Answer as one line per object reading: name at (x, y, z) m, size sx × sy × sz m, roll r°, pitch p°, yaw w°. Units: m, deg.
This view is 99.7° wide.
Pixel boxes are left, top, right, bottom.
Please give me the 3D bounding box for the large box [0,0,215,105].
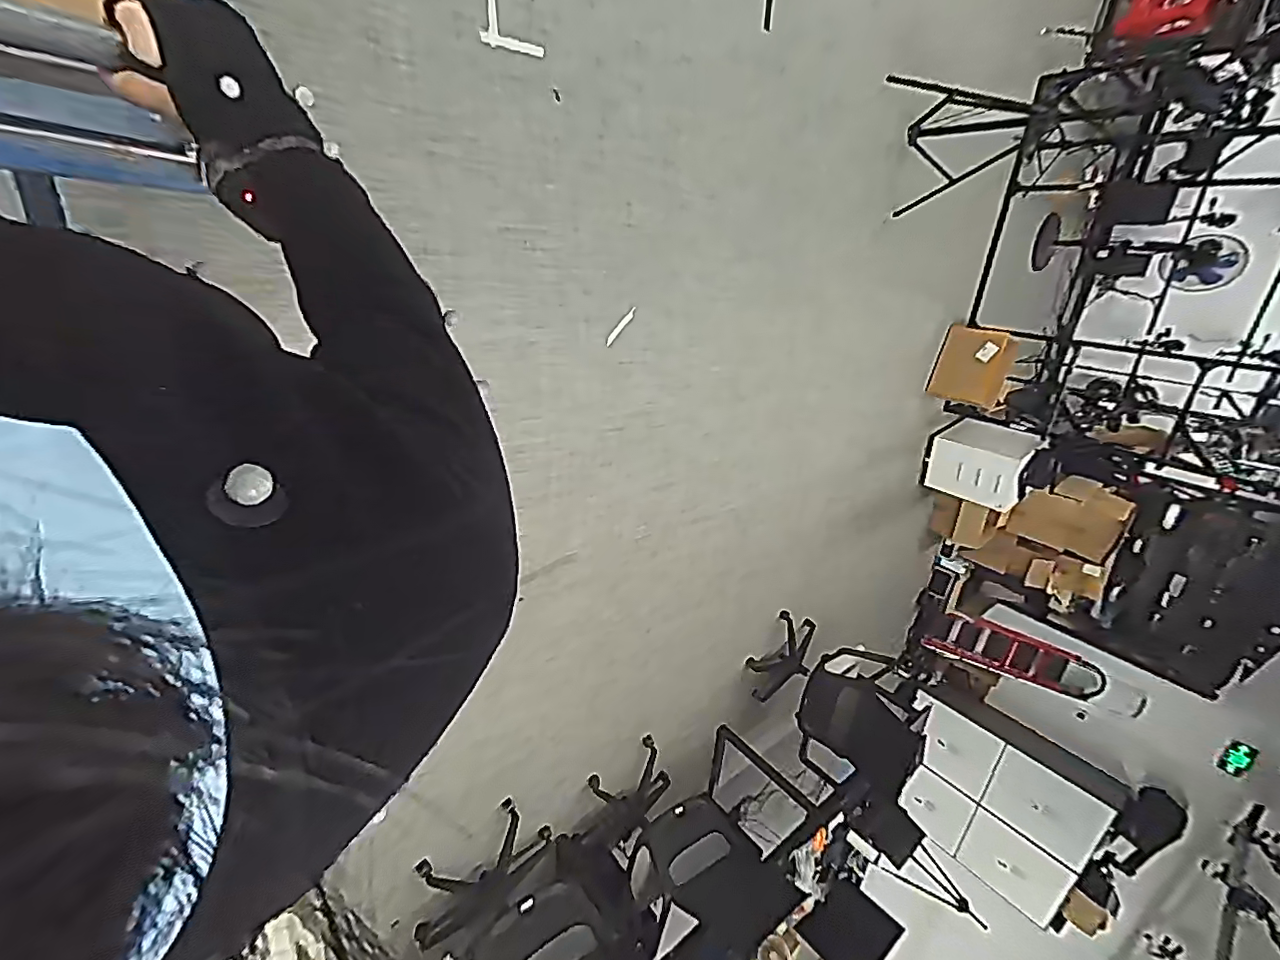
large box at (-0.799, -0.675, 0.628) m, size 0.408 × 0.320 × 0.320 m, roll -17°, pitch 121°, yaw -39°
